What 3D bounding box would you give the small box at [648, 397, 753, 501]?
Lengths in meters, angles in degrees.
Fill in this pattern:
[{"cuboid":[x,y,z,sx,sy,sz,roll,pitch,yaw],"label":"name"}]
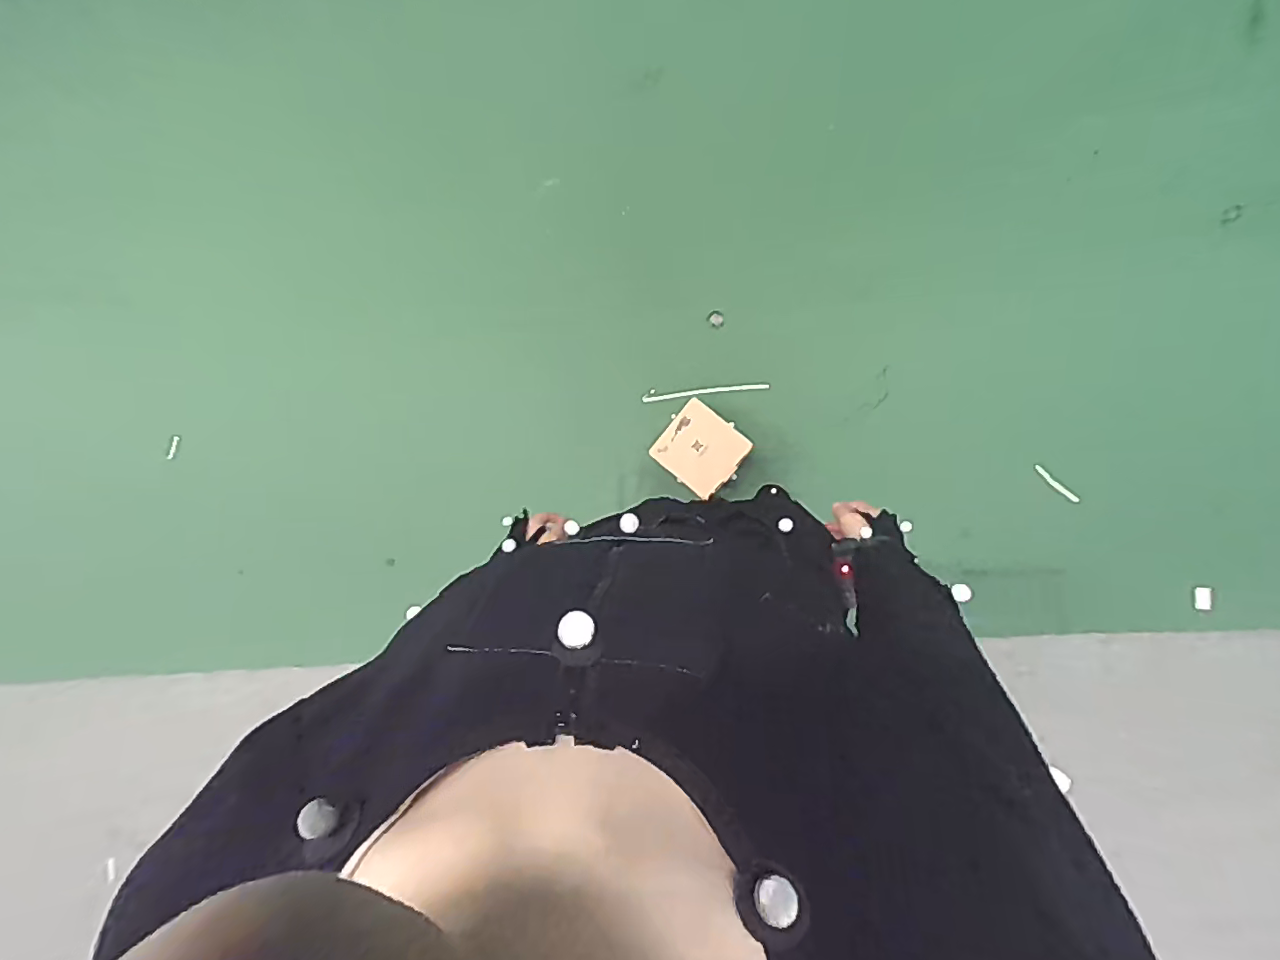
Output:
[{"cuboid":[0.146,-0.072,1.271,0.179,0.176,0.168,41,97,7],"label":"small box"}]
